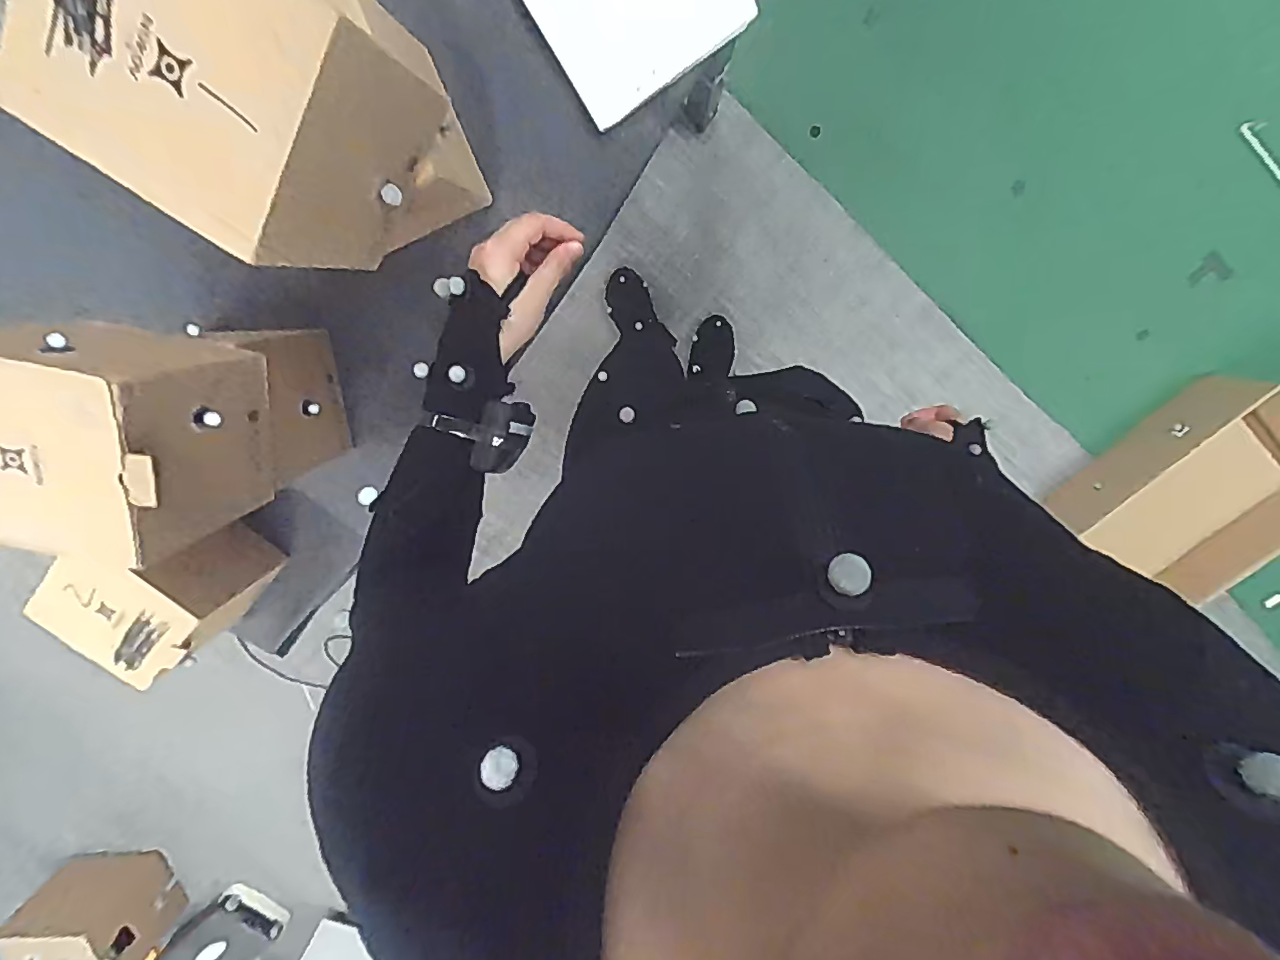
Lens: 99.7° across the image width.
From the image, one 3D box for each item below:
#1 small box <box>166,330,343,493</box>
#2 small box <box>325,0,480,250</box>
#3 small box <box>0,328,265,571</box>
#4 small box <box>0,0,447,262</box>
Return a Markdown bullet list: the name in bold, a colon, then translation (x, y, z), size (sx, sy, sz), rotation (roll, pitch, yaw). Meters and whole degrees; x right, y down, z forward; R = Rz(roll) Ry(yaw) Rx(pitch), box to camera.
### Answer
- **small box**: translation (-0.489, -0.090, 0.654), size (0.179, 0.176, 0.168), rotation (0, 110, 3)
- **small box**: translation (-0.284, -0.344, 0.549), size (0.179, 0.176, 0.168), rotation (-19, 108, 11)
- **small box**: translation (-0.481, -0.040, 0.499), size (0.179, 0.176, 0.168), rotation (11, 110, -1)
- **small box**: translation (-0.280, -0.278, 0.397), size (0.179, 0.176, 0.168), rotation (33, 110, -9)
